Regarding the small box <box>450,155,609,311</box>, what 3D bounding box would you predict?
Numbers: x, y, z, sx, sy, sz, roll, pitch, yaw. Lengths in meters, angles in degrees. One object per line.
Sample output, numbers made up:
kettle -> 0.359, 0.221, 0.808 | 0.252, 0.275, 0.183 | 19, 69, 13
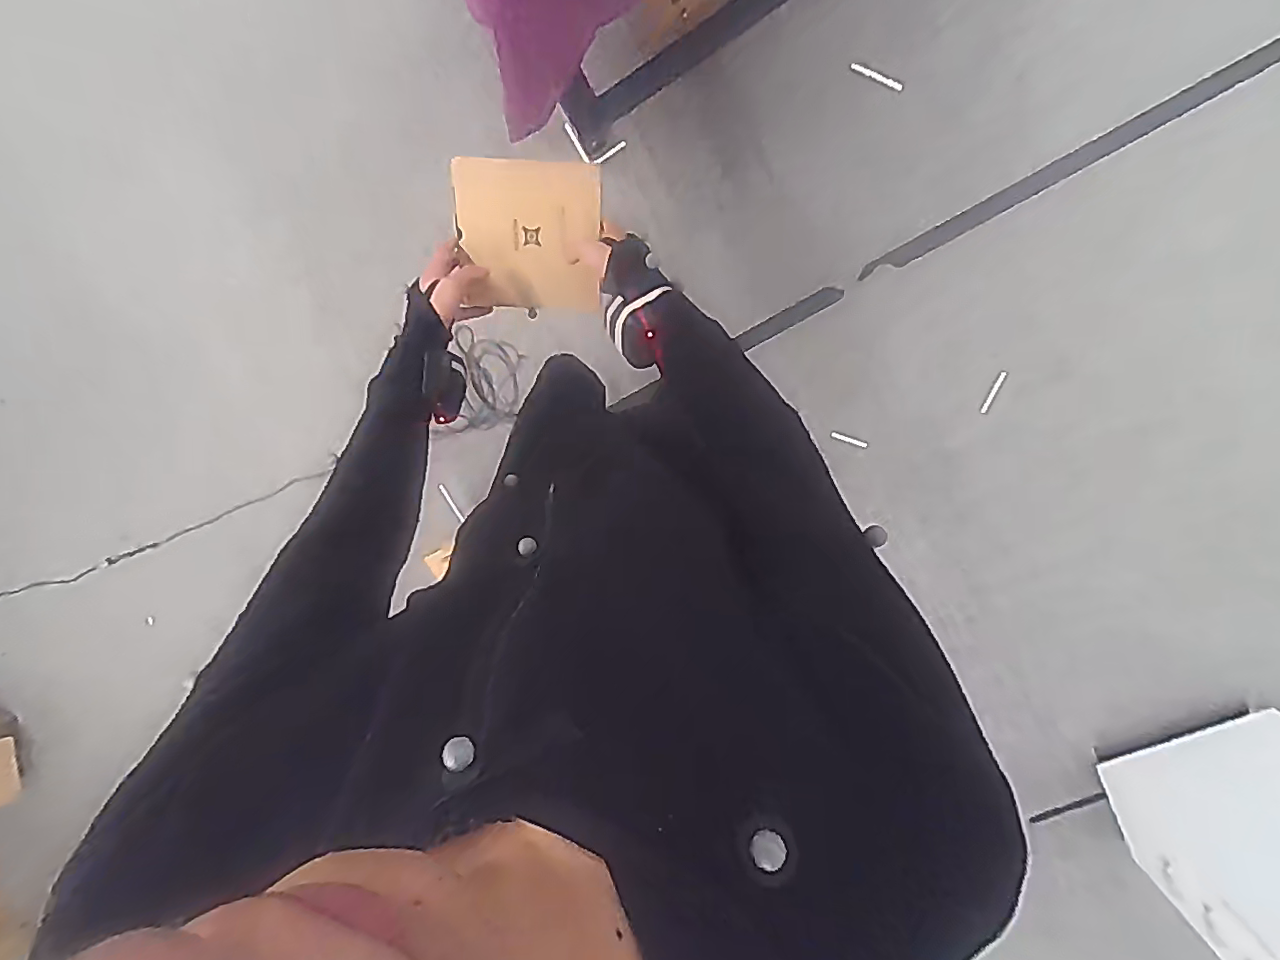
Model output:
small box -> -0.136, -0.317, 0.719 | 0.179, 0.176, 0.168 | 2, 110, -2
